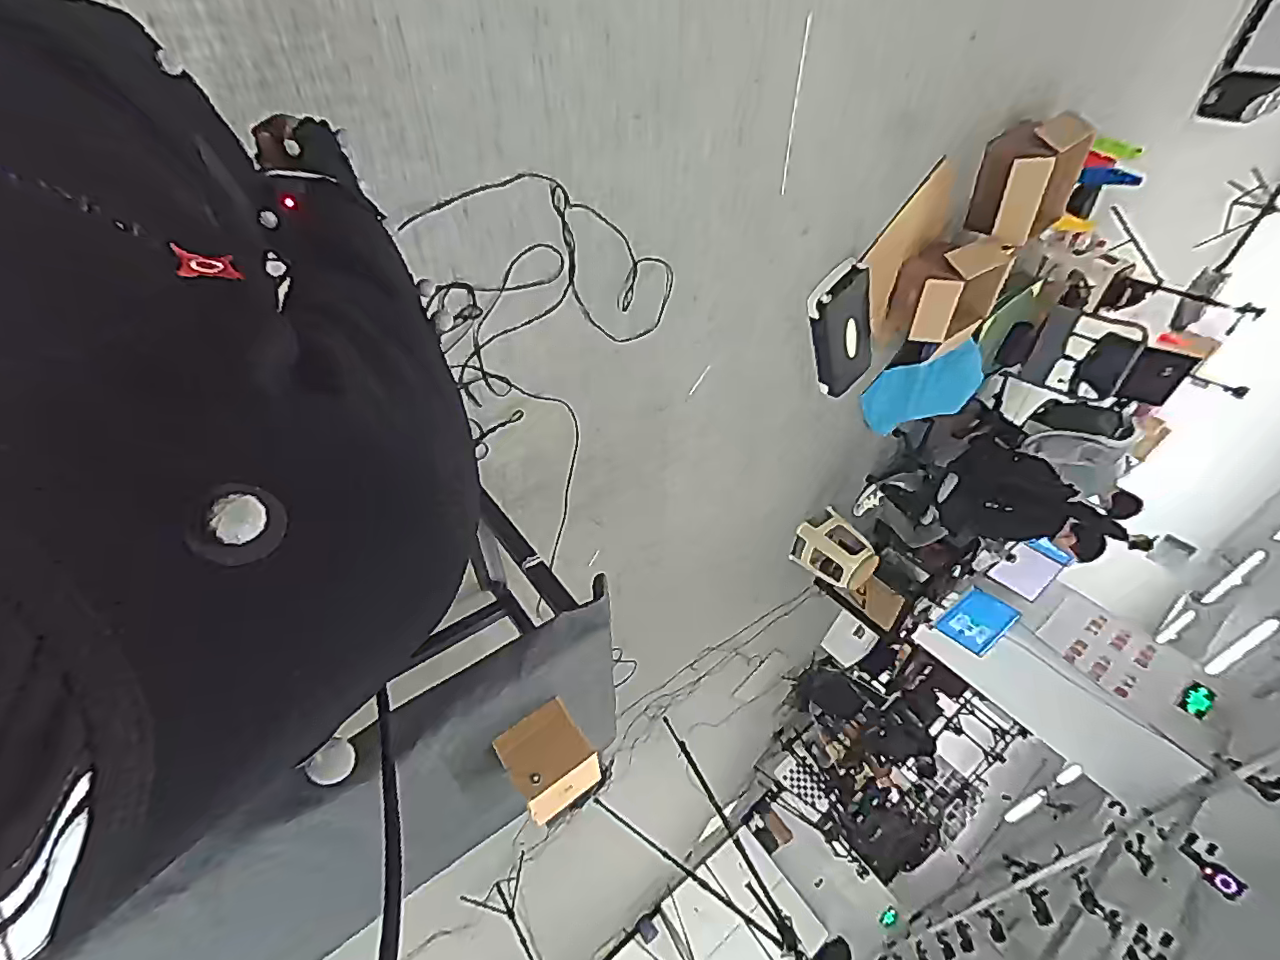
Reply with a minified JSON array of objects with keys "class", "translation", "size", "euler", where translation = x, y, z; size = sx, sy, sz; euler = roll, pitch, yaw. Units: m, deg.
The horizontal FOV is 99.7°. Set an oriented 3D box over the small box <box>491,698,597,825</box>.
[{"class":"small box","translation":[-0.221,0.648,1.259],"size":[0.179,0.176,0.168],"euler":[-27,139,-26]}]
